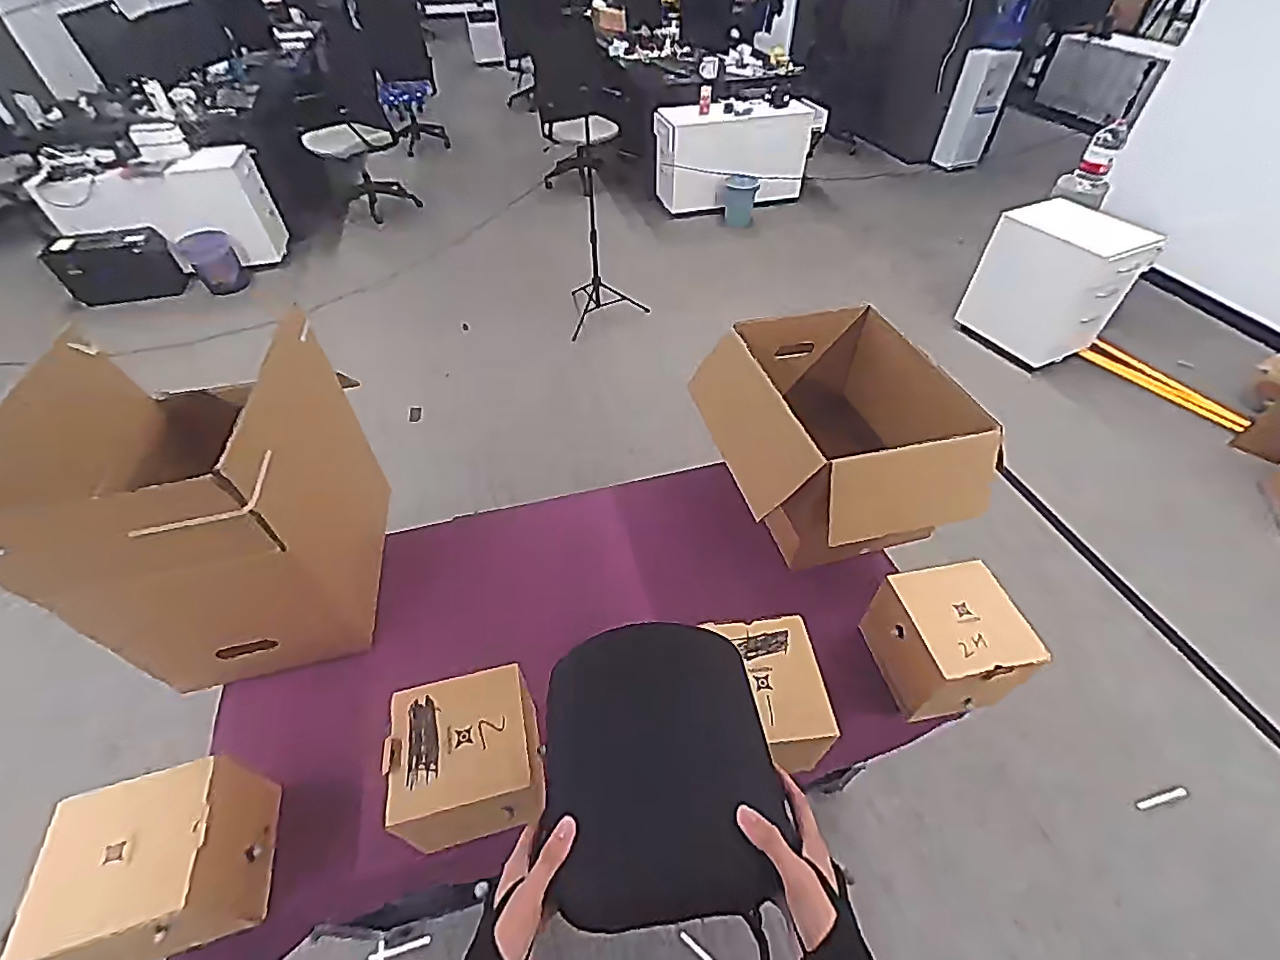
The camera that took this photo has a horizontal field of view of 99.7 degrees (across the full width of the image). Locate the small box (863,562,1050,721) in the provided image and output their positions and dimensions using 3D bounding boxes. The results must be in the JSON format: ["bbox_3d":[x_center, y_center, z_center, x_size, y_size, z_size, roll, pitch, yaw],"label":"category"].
[{"bbox_3d":[0.486,0.259,0.868,0.168,0.176,0.179,-8,47,-5],"label":"small box"}]

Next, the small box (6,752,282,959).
[{"bbox_3d":[-0.596,0.480,0.684,0.179,0.176,0.168,-12,48,-12],"label":"small box"}]
